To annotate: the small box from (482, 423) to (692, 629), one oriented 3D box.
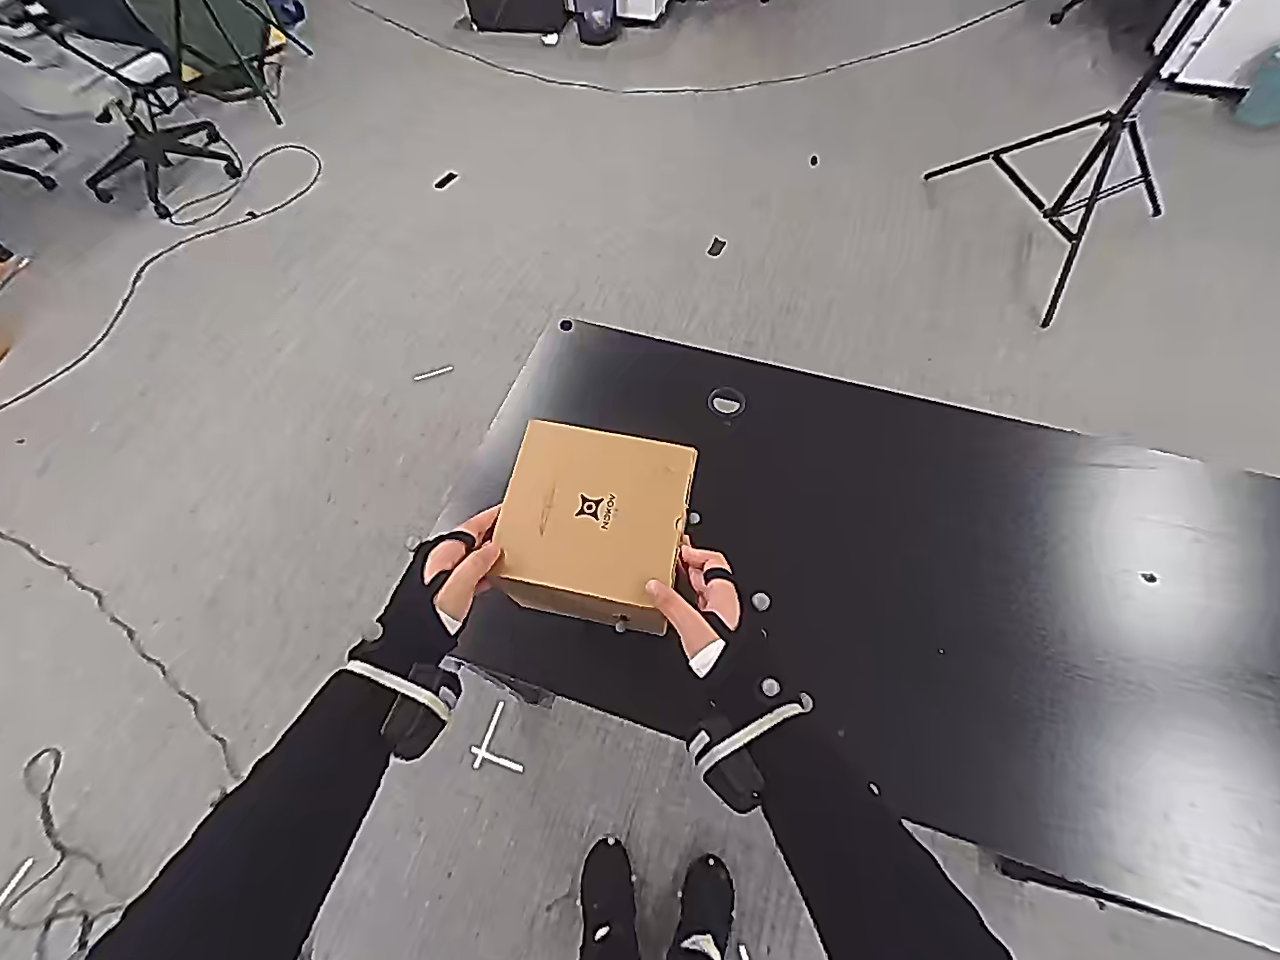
[{"bbox_3d":[-0.046,0.060,0.596,0.179,0.176,0.168,10,66,6],"label":"small box"}]
